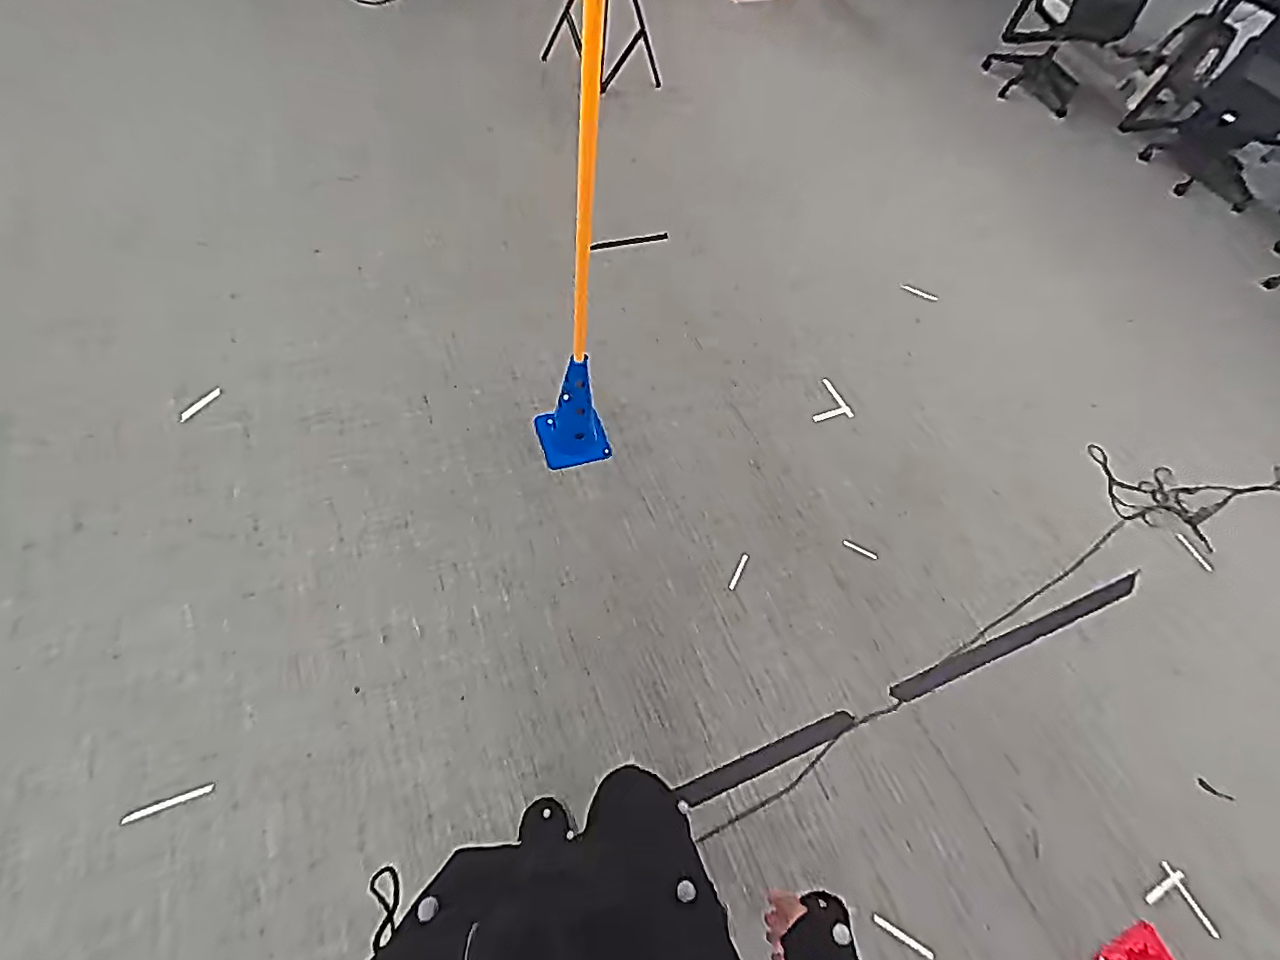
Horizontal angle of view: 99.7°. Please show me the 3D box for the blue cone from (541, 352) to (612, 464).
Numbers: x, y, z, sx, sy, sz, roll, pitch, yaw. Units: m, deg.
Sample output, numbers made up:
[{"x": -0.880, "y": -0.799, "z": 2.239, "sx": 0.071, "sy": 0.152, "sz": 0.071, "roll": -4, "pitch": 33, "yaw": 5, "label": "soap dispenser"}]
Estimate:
[{"x": -0.173, "y": -0.218, "z": 1.518, "sx": 0.192, "sy": 0.380, "sz": 0.193, "roll": -12, "pitch": 64, "yaw": -17, "label": "blue cone"}]
